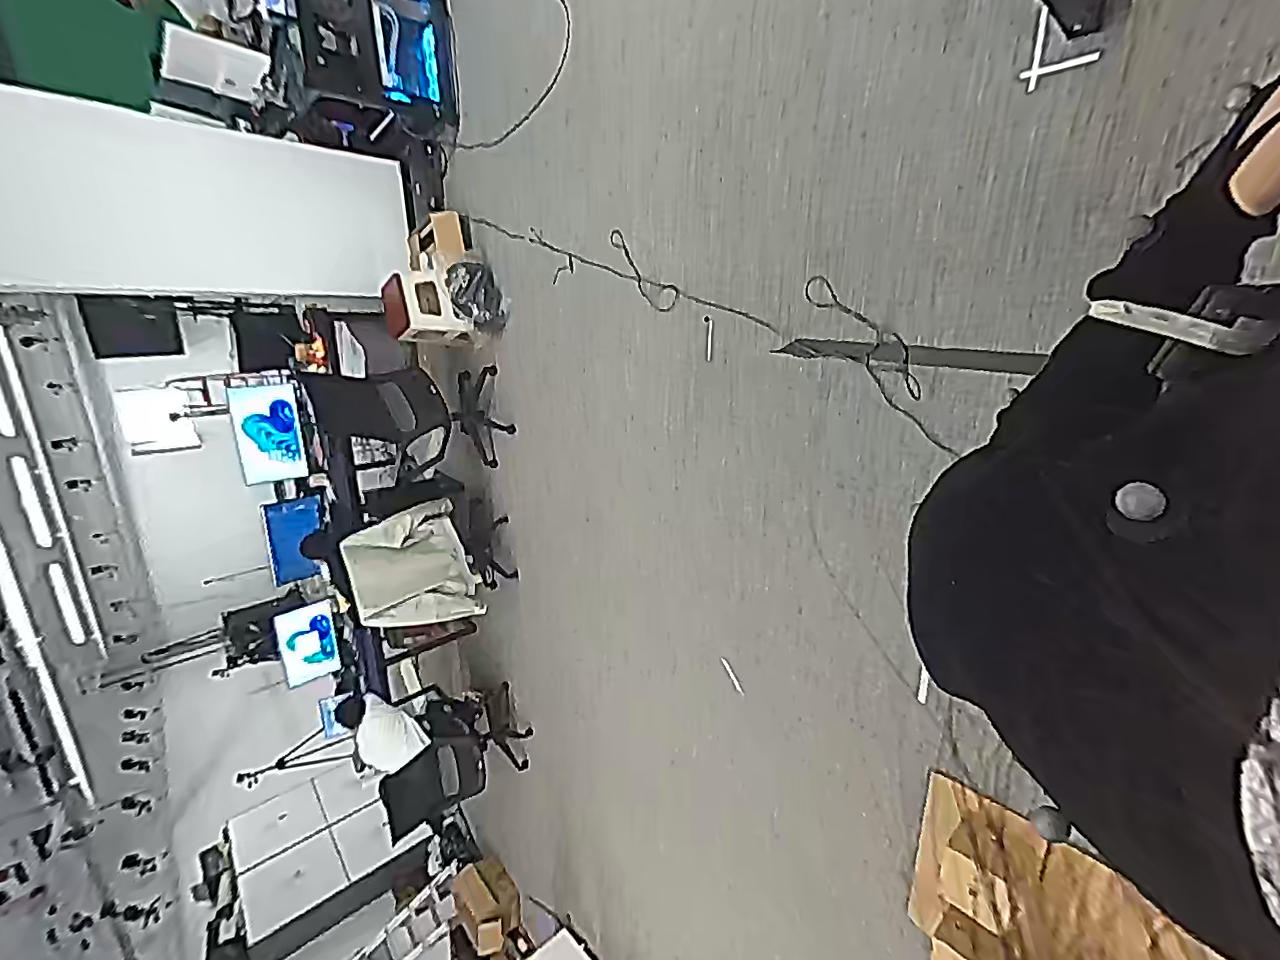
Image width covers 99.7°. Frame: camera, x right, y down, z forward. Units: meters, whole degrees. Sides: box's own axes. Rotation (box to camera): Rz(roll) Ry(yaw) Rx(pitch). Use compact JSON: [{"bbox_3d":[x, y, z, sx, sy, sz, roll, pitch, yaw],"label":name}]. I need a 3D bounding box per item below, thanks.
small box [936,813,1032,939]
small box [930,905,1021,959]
[{"bbox_3d":[0.935,1.065,1.468,0.168,0.176,0.179,17,113,45],"label":"small box"},{"bbox_3d":[0.952,1.365,1.539,0.179,0.176,0.168,11,110,48],"label":"small box"}]
